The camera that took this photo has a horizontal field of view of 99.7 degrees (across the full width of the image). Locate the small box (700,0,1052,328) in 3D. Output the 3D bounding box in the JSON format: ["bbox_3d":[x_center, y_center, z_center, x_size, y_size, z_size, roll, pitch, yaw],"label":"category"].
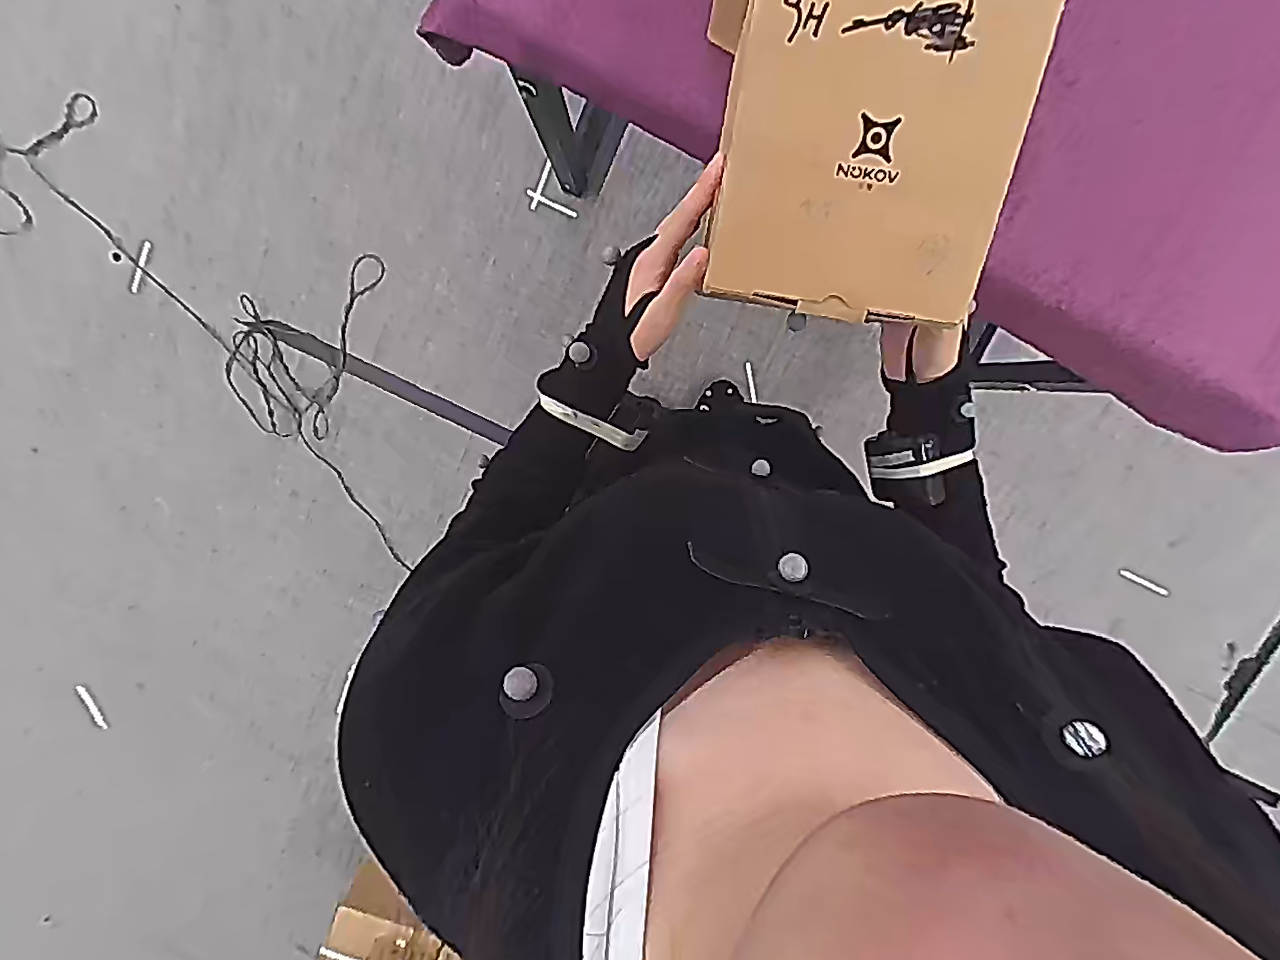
[{"bbox_3d":[0.140,-0.217,0.399,0.168,0.176,0.179,9,109,0],"label":"small box"}]

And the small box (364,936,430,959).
[{"bbox_3d":[-0.658,1.328,1.373,0.168,0.176,0.179,22,99,-4],"label":"small box"}]
